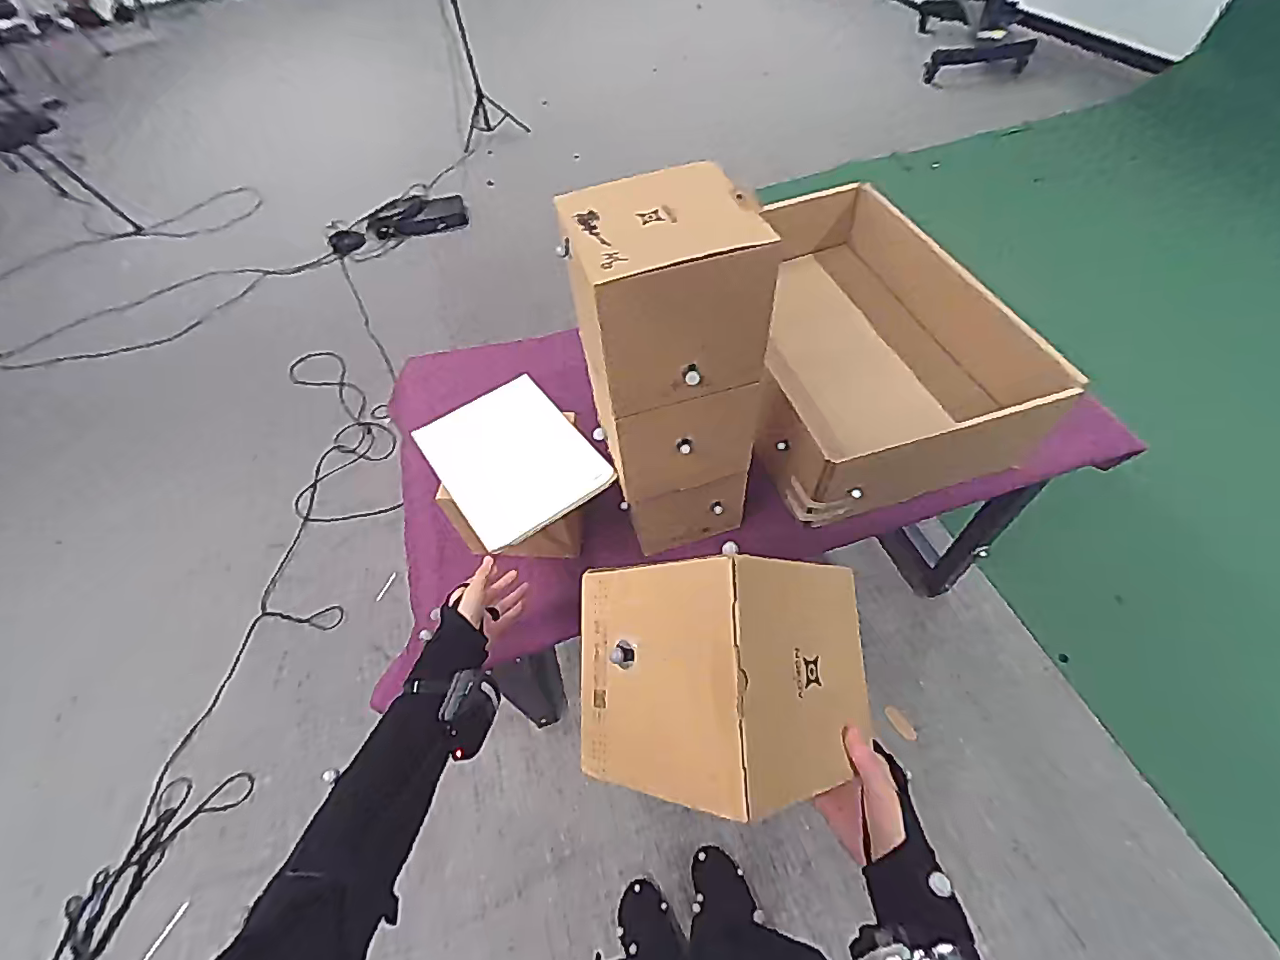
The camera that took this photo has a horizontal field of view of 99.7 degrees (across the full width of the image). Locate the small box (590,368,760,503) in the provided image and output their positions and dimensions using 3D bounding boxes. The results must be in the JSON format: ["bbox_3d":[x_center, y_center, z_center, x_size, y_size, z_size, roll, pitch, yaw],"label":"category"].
[{"bbox_3d":[0.037,-0.096,0.707,0.179,0.176,0.168,-16,53,-6],"label":"small box"}]

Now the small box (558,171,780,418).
[{"bbox_3d":[0.024,-0.193,0.575,0.179,0.176,0.168,-16,53,-7],"label":"small box"}]

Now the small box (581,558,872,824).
[{"bbox_3d":[0.070,0.160,0.460,0.176,0.179,0.168,-17,68,46],"label":"small box"}]
